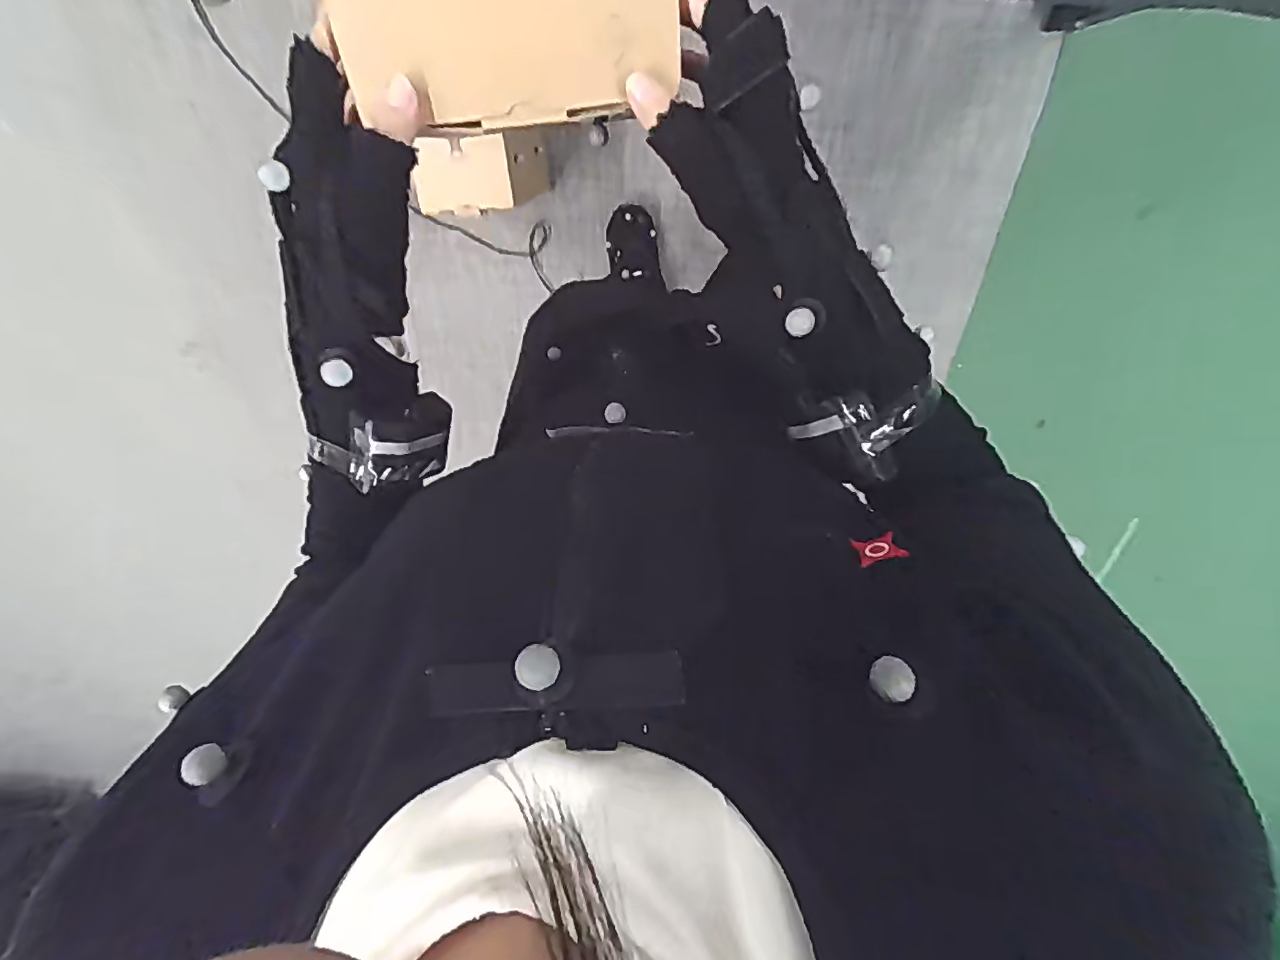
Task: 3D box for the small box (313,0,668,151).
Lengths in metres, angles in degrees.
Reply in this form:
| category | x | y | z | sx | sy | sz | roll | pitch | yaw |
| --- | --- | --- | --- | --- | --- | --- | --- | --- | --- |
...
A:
| category | x | y | z | sx | sy | sz | roll | pitch | yaw |
| --- | --- | --- | --- | --- | --- | --- | --- | --- | --- |
| small box | -0.076 | -0.296 | 0.304 | 0.168 | 0.176 | 0.179 | -7 | 120 | 1 |

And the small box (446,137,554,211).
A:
| category | x | y | z | sx | sy | sz | roll | pitch | yaw |
| --- | --- | --- | --- | --- | --- | --- | --- | --- | --- |
| small box | -0.278 | -0.651 | 1.087 | 0.168 | 0.176 | 0.179 | -3 | 121 | 6 |
